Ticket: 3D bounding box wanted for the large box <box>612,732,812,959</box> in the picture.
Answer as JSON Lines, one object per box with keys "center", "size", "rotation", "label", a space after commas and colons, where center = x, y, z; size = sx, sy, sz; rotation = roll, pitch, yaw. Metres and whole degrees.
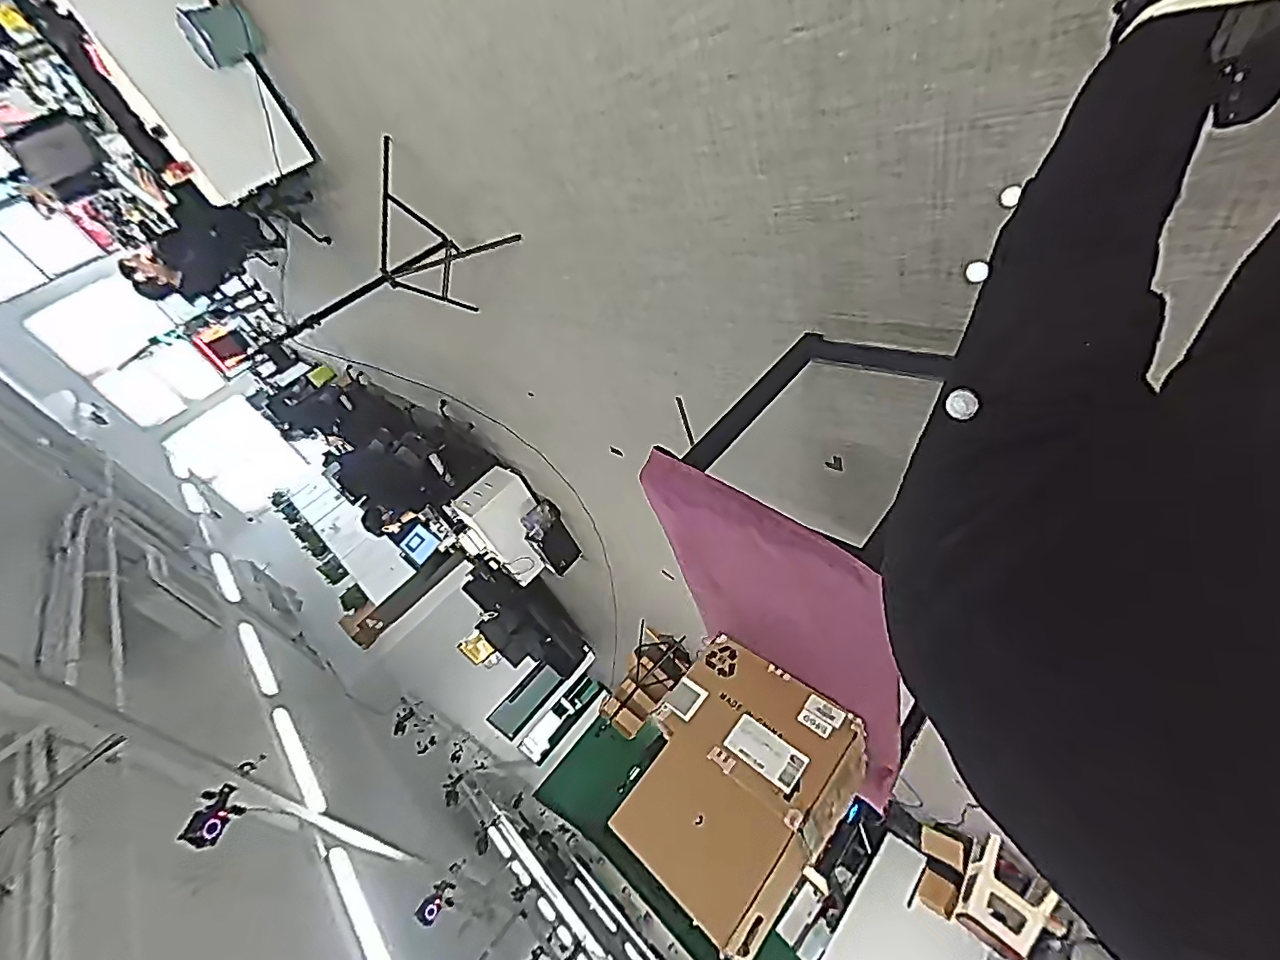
{"center": [0.201, 0.985, 1.482], "size": [0.408, 0.320, 0.320], "rotation": [22, 149, 42], "label": "large box"}
